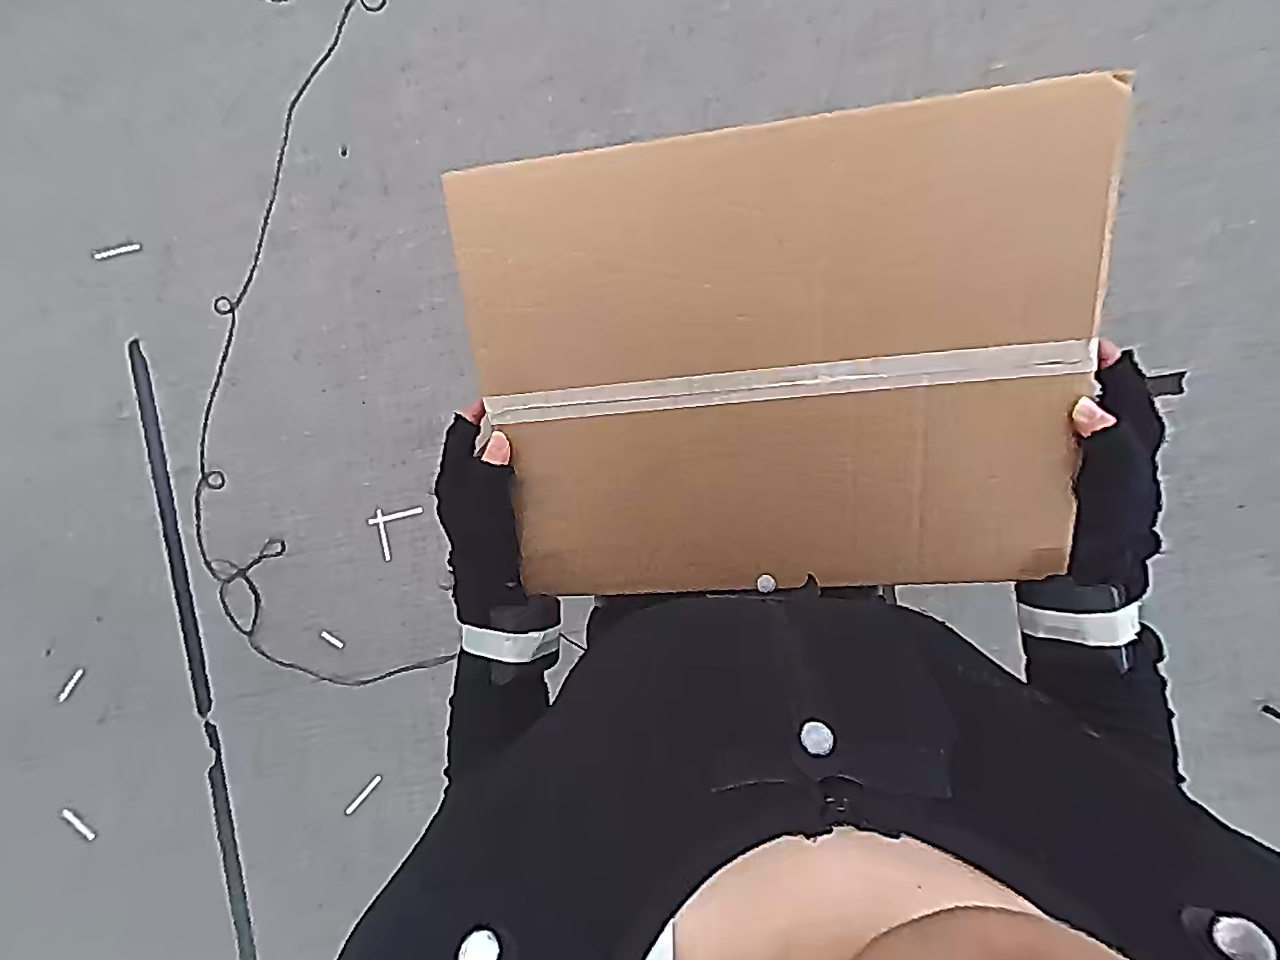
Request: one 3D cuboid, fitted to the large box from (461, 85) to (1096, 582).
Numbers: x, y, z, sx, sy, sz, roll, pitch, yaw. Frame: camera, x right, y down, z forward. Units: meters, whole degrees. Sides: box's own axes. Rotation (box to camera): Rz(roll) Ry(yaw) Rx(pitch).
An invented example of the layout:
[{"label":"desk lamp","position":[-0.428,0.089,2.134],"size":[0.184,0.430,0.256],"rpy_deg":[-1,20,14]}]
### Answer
[{"label":"large box","position":[0.102,-0.118,0.527],"size":[0.408,0.320,0.320],"rpy_deg":[-3,109,8]}]
